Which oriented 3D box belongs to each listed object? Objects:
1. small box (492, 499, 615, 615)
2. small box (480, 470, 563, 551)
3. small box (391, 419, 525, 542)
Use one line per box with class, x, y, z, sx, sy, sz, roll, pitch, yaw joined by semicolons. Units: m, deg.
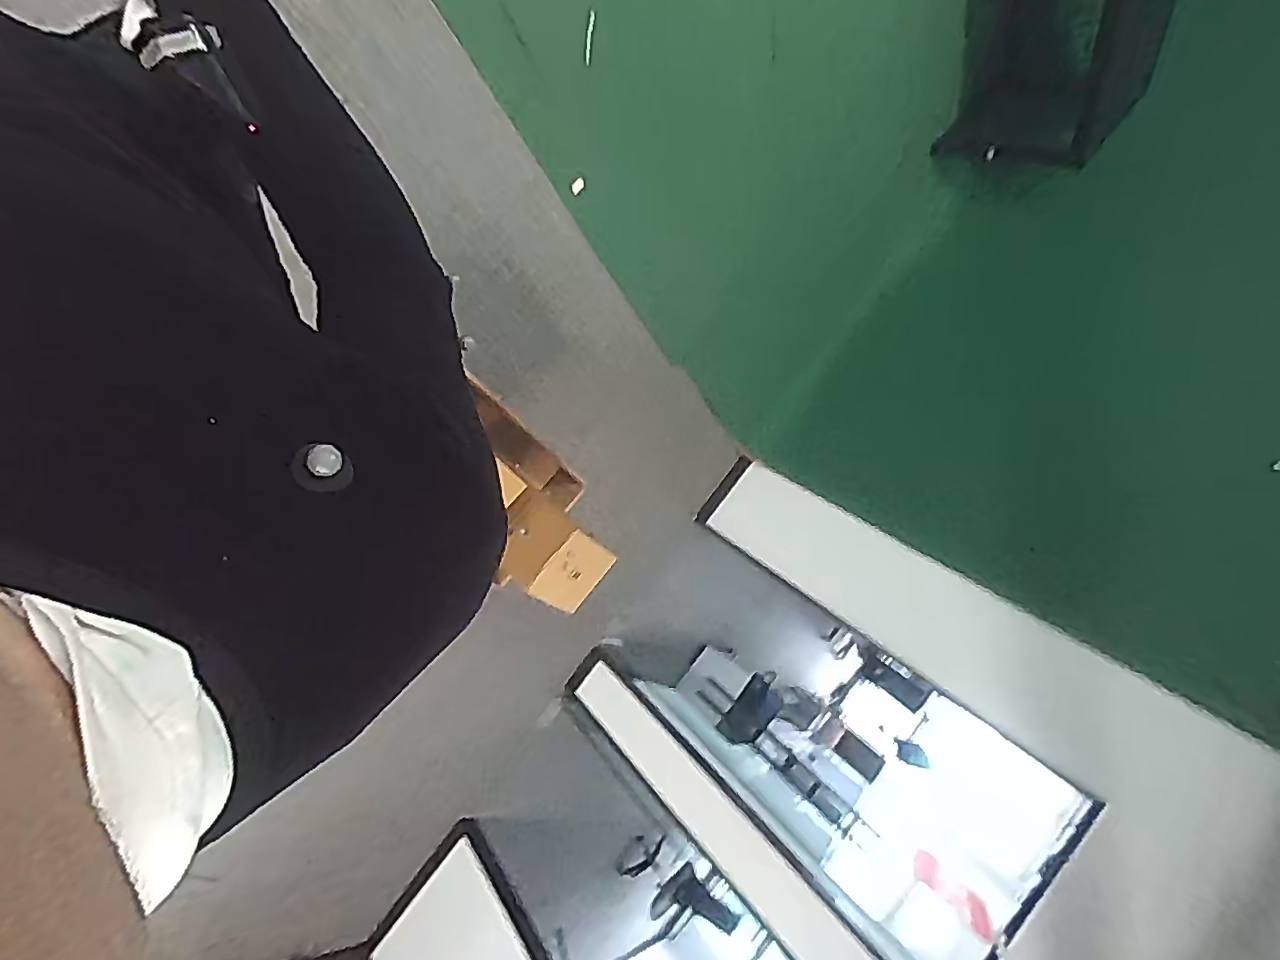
small box;-0.194;0.169;1.210;0.168;0.176;0.179;-51;139;-5
small box;-0.291;0.103;1.327;0.168;0.176;0.179;-49;139;-6
small box;-0.385;-0.006;1.140;0.168;0.176;0.179;-47;143;-8
